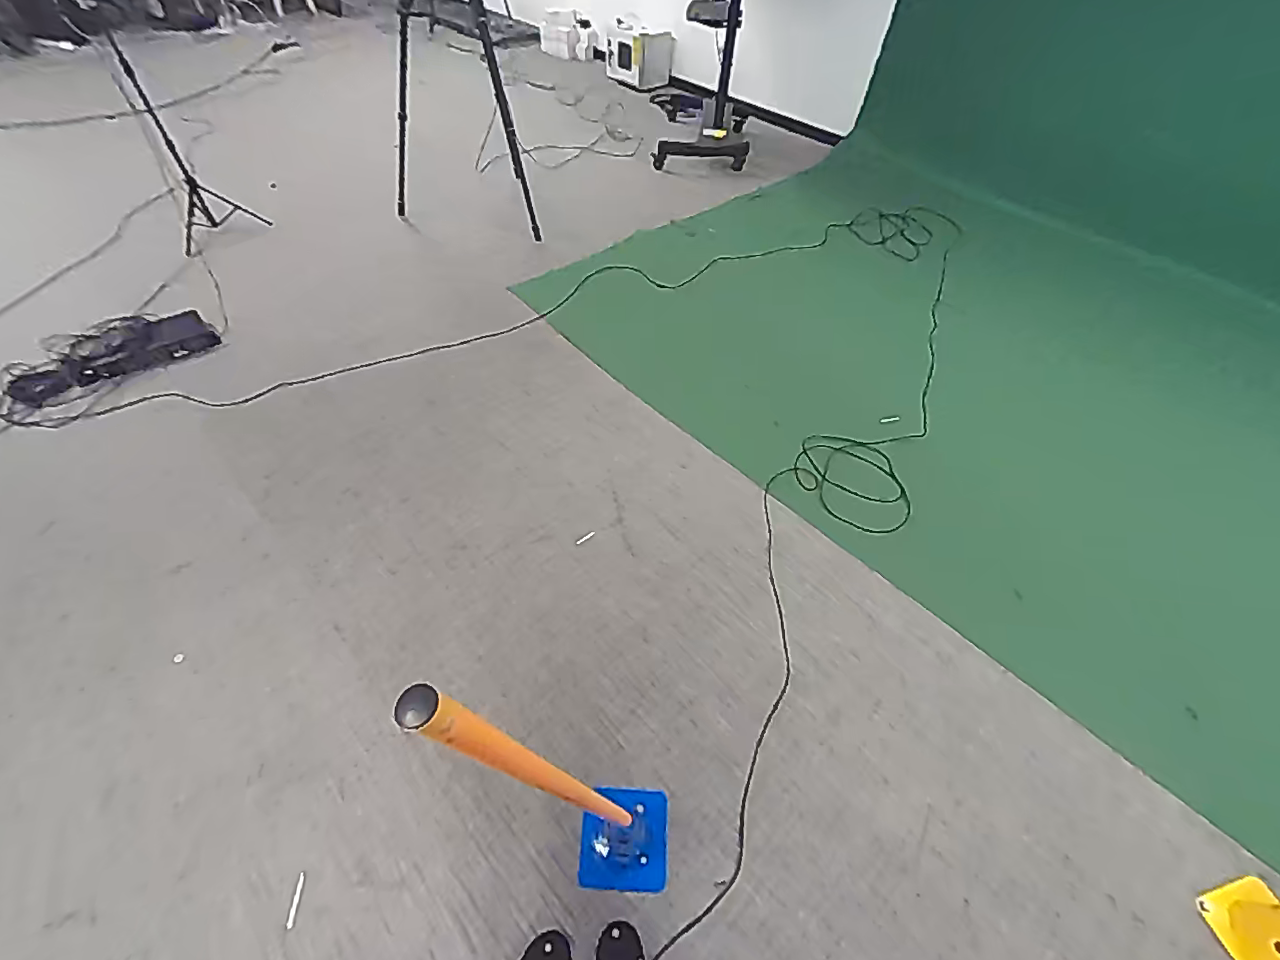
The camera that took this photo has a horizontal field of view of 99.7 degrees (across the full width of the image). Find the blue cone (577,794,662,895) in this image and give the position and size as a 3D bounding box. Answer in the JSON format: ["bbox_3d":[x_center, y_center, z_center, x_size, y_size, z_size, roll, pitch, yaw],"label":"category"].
[{"bbox_3d":[-0.043,0.724,1.104,0.193,0.380,0.192,2,52,0],"label":"blue cone"}]
